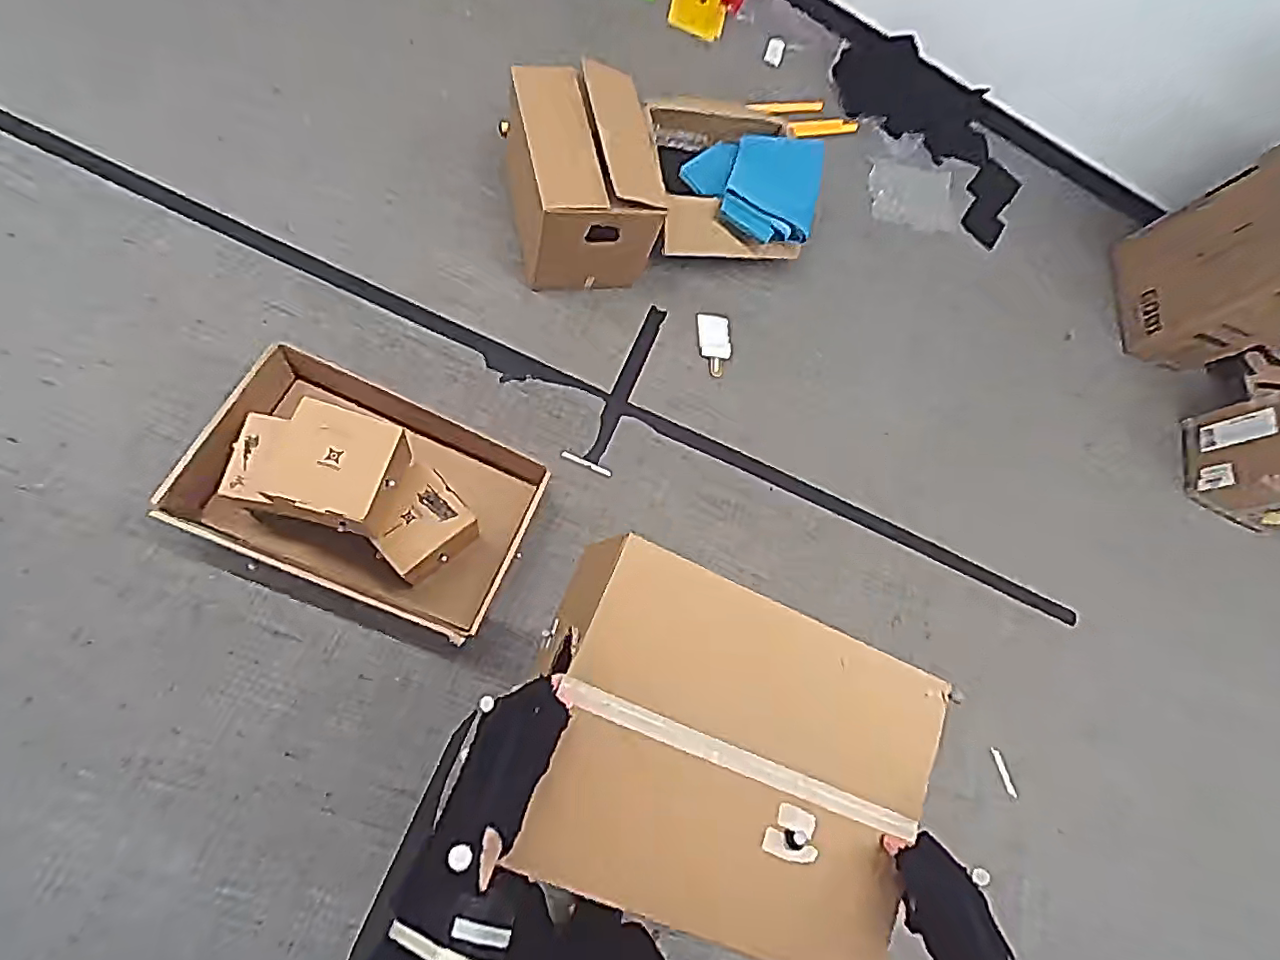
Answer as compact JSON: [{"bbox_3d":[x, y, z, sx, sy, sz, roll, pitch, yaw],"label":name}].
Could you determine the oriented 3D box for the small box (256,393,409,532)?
[{"bbox_3d":[-0.523,-0.020,0.954,0.168,0.176,0.179,18,69,-12],"label":"small box"}]

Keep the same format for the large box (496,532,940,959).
[{"bbox_3d":[0.067,0.291,0.678,0.408,0.320,0.320,26,76,-9],"label":"large box"}]
